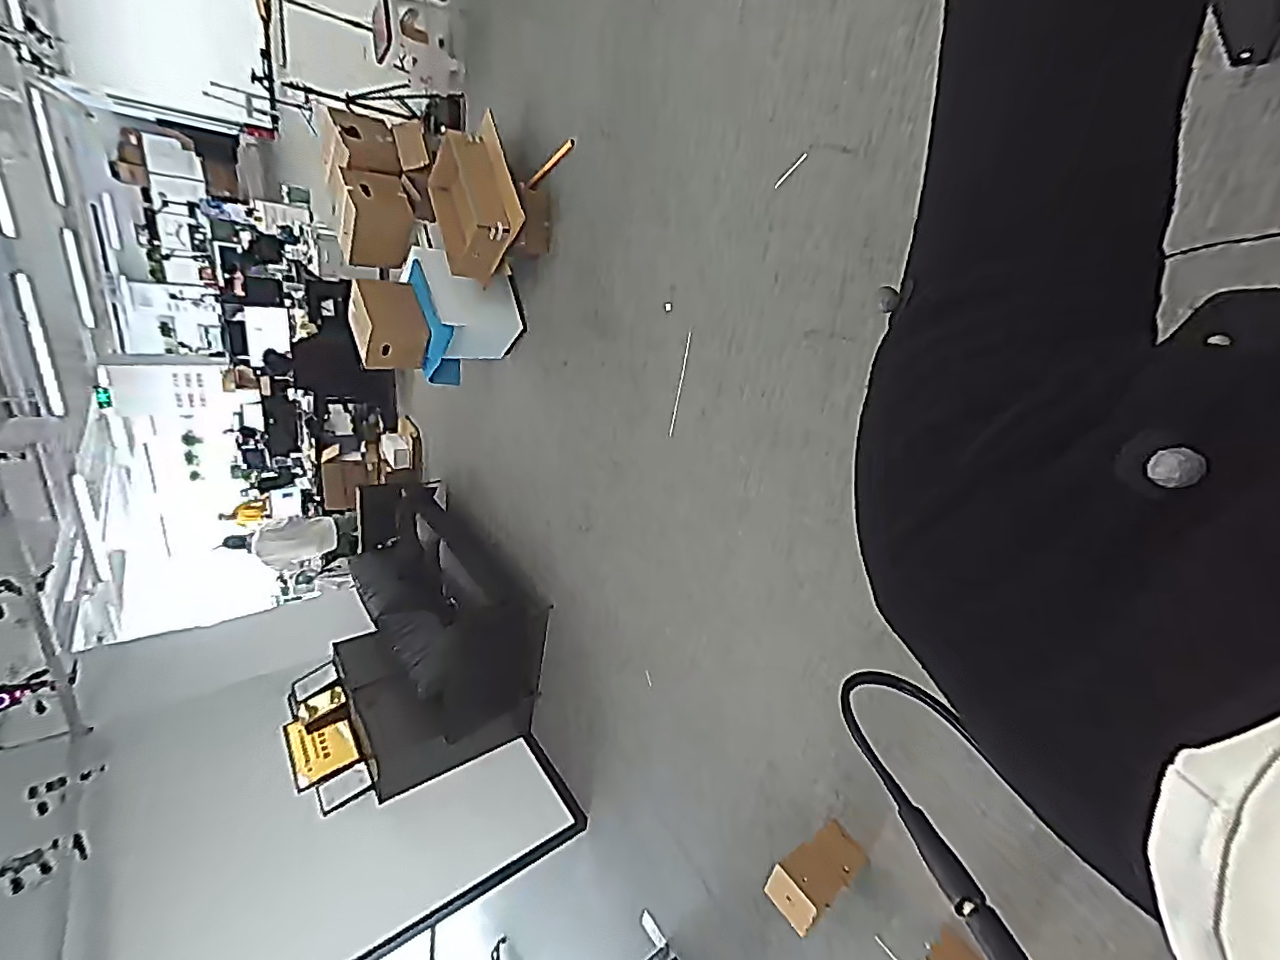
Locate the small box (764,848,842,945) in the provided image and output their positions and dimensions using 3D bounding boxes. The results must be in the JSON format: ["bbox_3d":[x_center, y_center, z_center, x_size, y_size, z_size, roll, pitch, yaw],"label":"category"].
[{"bbox_3d":[0.567,1.434,1.874,0.179,0.176,0.168,36,123,43],"label":"small box"}]

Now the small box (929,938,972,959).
[{"bbox_3d":[0.968,1.583,1.666,0.179,0.176,0.168,34,122,44],"label":"small box"}]
